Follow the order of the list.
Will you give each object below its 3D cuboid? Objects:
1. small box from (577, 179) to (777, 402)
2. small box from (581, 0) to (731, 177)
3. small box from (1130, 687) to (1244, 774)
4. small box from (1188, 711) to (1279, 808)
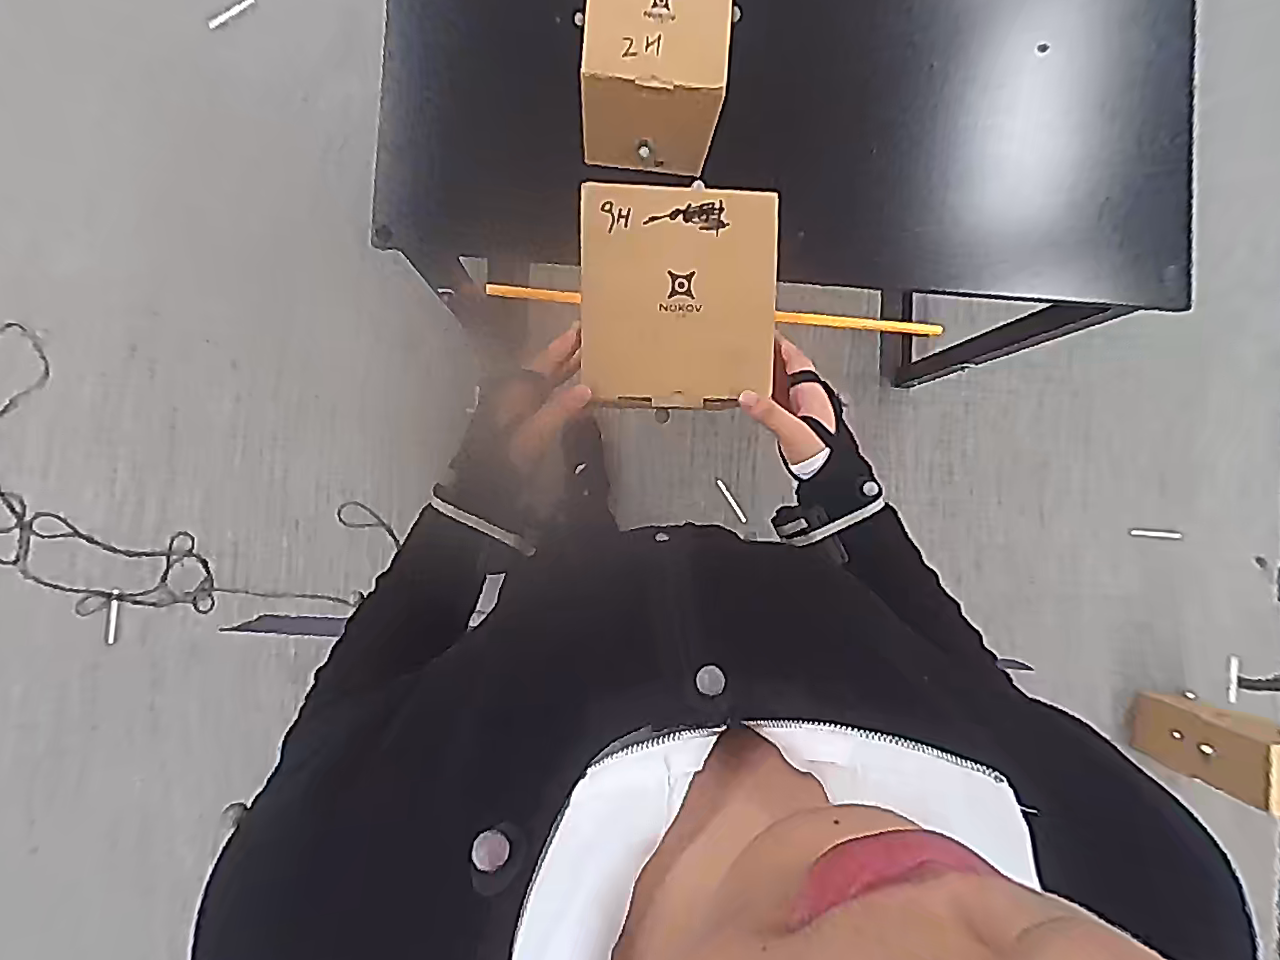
[{"bbox_3d":[0.024,-0.167,0.531,0.168,0.176,0.179,0,97,-6],"label":"small box"},{"bbox_3d":[0.015,-0.526,0.688,0.168,0.176,0.179,4,89,-4],"label":"small box"},{"bbox_3d":[1.528,0.698,1.512,0.168,0.176,0.179,6,90,-4],"label":"small box"},{"bbox_3d":[1.541,0.691,1.351,0.179,0.176,0.168,1,88,-3],"label":"small box"}]
